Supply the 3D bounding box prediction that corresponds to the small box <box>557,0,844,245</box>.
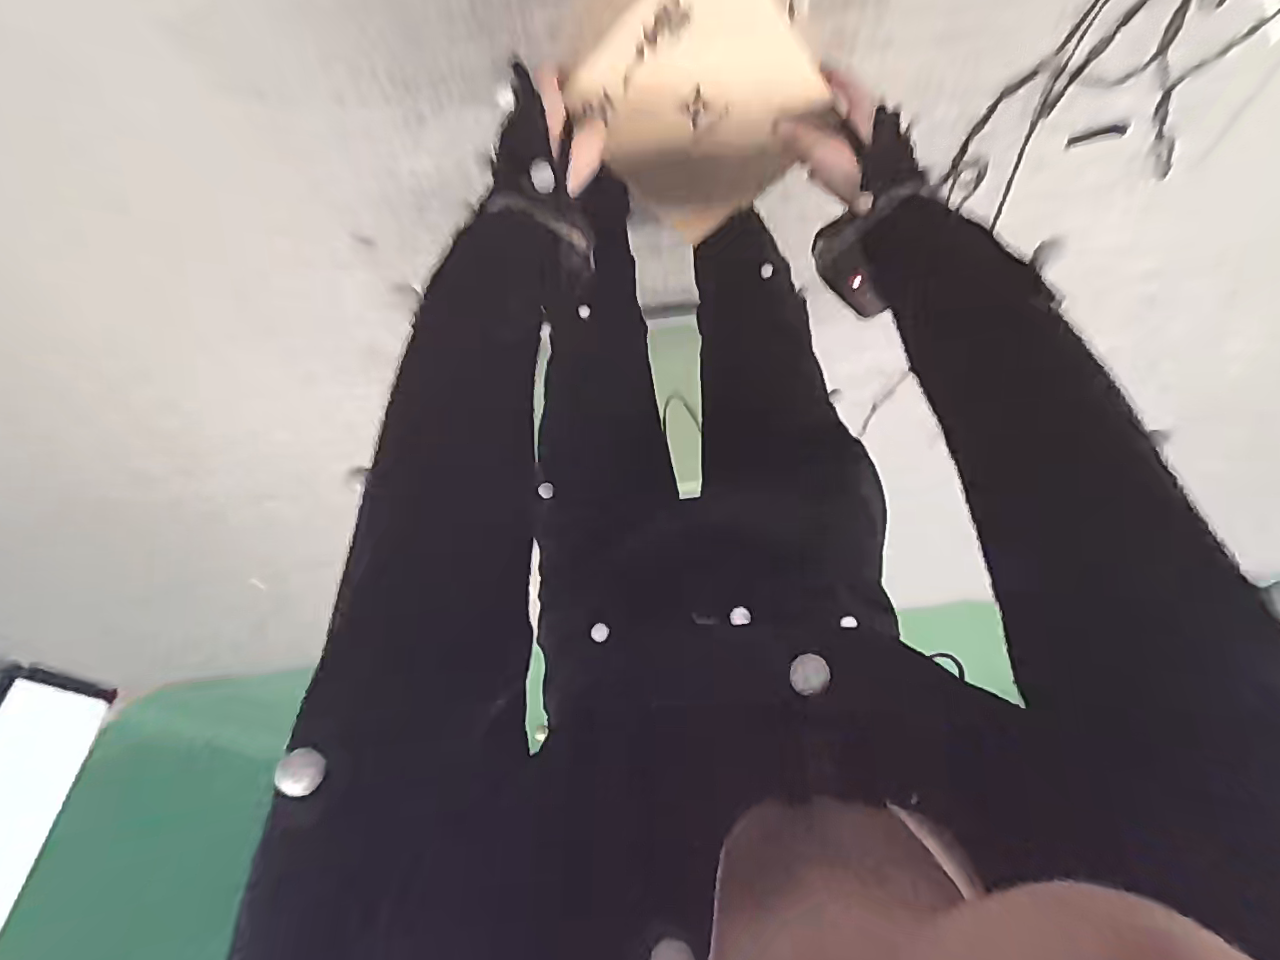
[{"bbox_3d":[0.051,-0.358,0.471,0.168,0.176,0.179,-27,140,37],"label":"small box"}]
